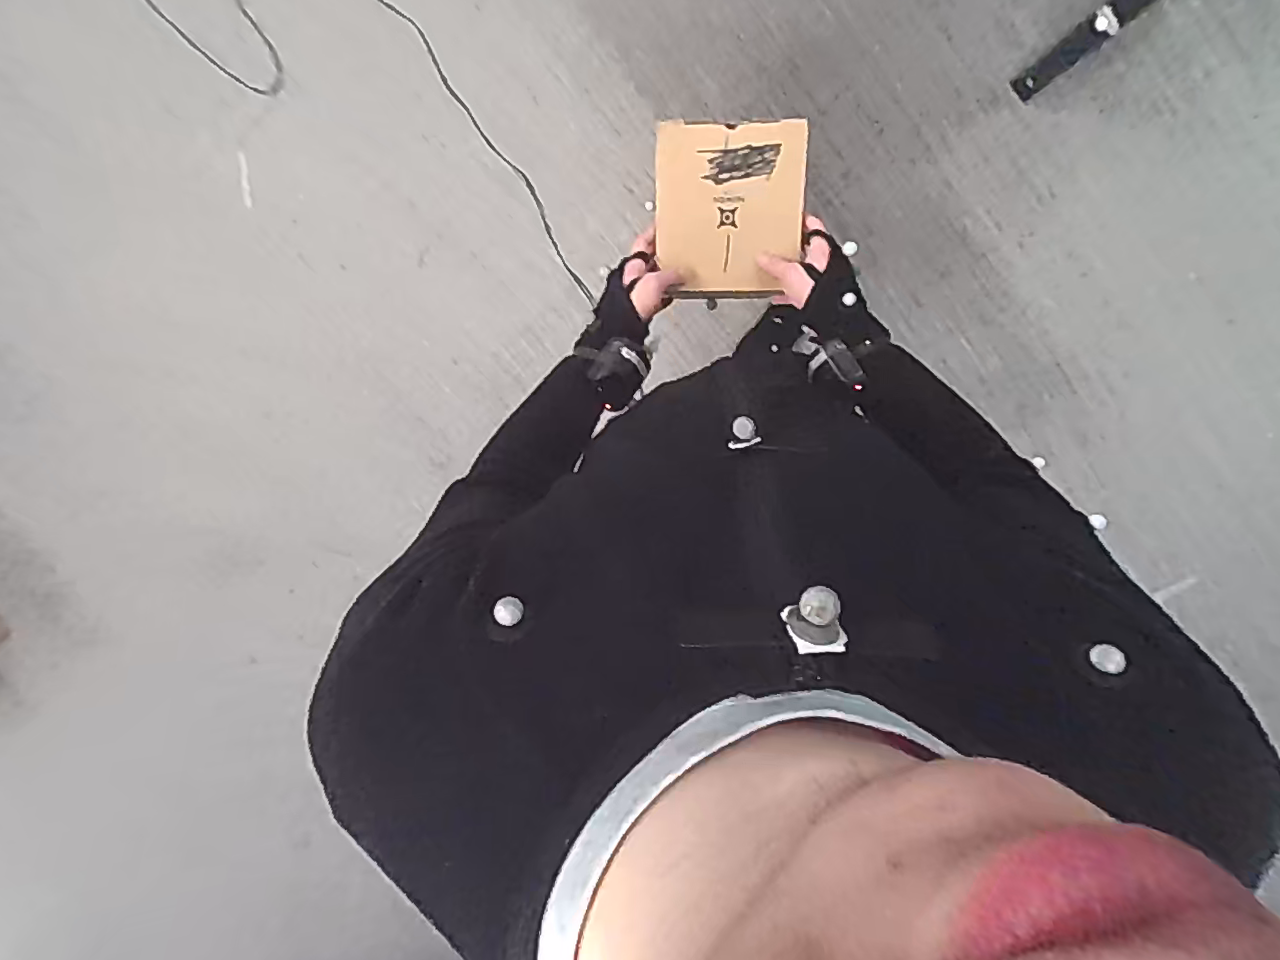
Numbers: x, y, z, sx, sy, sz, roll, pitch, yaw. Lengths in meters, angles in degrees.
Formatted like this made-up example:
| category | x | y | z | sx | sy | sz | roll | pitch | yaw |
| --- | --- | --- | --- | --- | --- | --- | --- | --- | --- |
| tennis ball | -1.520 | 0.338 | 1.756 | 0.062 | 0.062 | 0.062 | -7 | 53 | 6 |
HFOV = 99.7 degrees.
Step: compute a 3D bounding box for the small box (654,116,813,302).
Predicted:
| category | x | y | z | sx | sy | sz | roll | pitch | yaw |
| --- | --- | --- | --- | --- | --- | --- | --- | --- | --- |
| small box | 0.101 | -0.317 | 0.664 | 0.168 | 0.176 | 0.179 | 1 | 106 | 2 |
